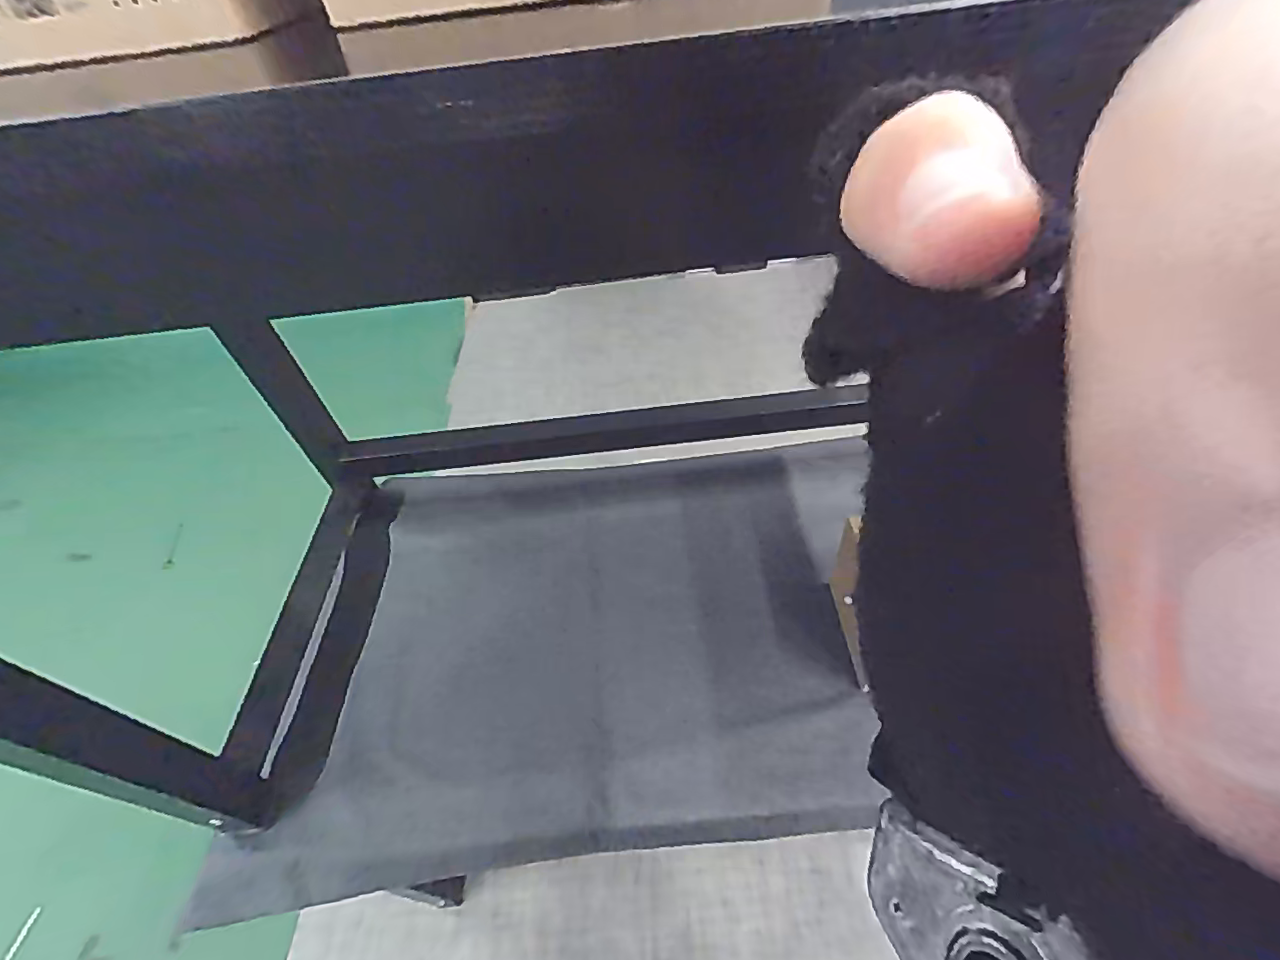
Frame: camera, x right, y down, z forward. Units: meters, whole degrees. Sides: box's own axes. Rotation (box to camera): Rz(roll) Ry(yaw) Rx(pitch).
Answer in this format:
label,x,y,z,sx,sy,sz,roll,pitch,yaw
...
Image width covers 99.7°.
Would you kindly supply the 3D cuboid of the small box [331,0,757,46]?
label,x,y,z,sx,sy,sz,roll,pitch,yaw
small box,-0.033,-0.272,0.186,0.179,0.176,0.168,-3,47,4
